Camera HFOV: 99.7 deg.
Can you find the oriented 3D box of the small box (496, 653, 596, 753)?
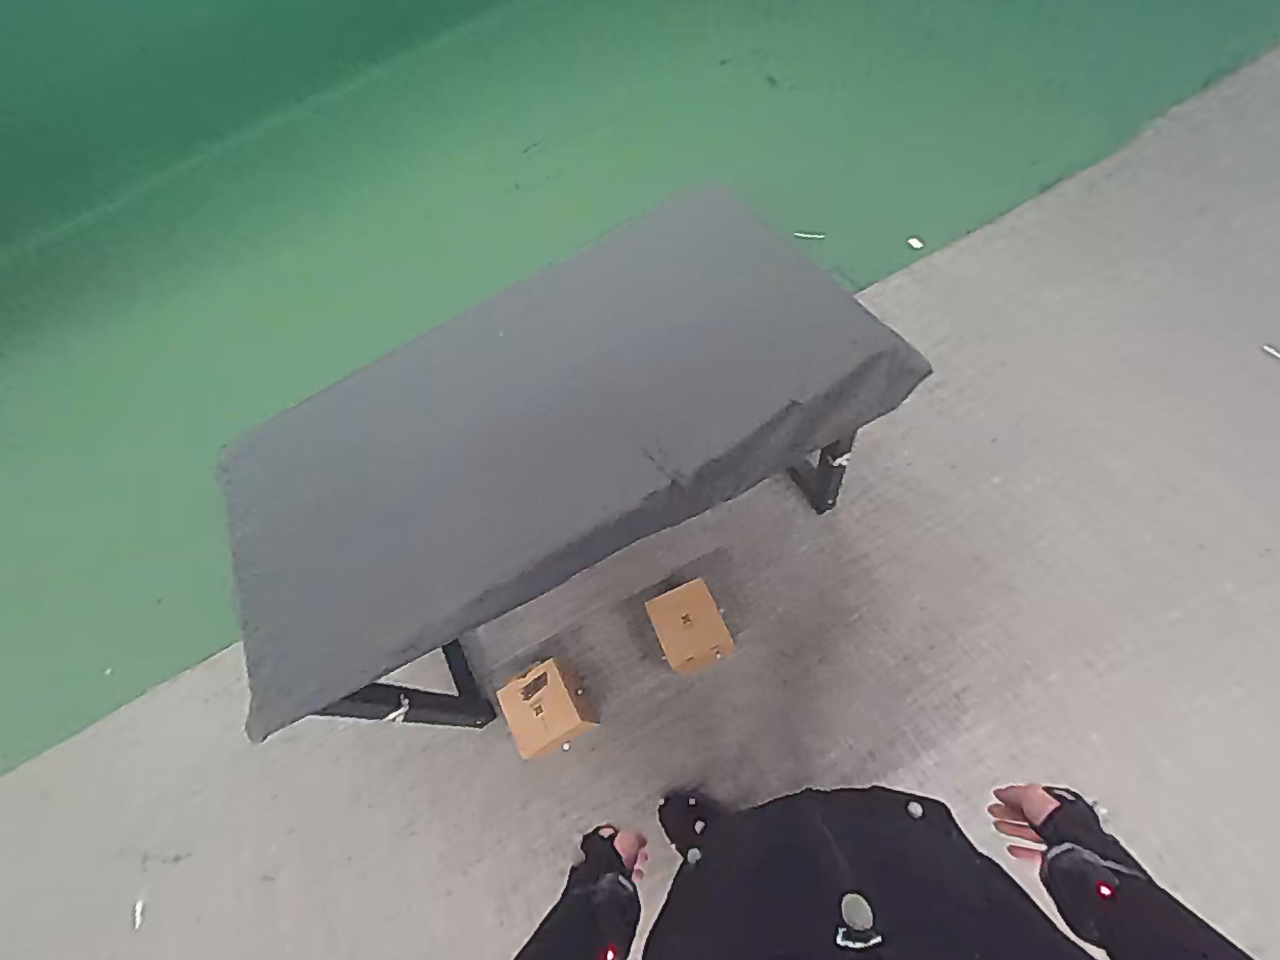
[{"bbox_3d":[-0.236,0.574,1.385,0.168,0.176,0.179,-32,64,-4],"label":"small box"}]

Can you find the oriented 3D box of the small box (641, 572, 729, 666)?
[{"bbox_3d":[0.123,0.370,1.410,0.168,0.176,0.179,-25,61,-2],"label":"small box"}]
